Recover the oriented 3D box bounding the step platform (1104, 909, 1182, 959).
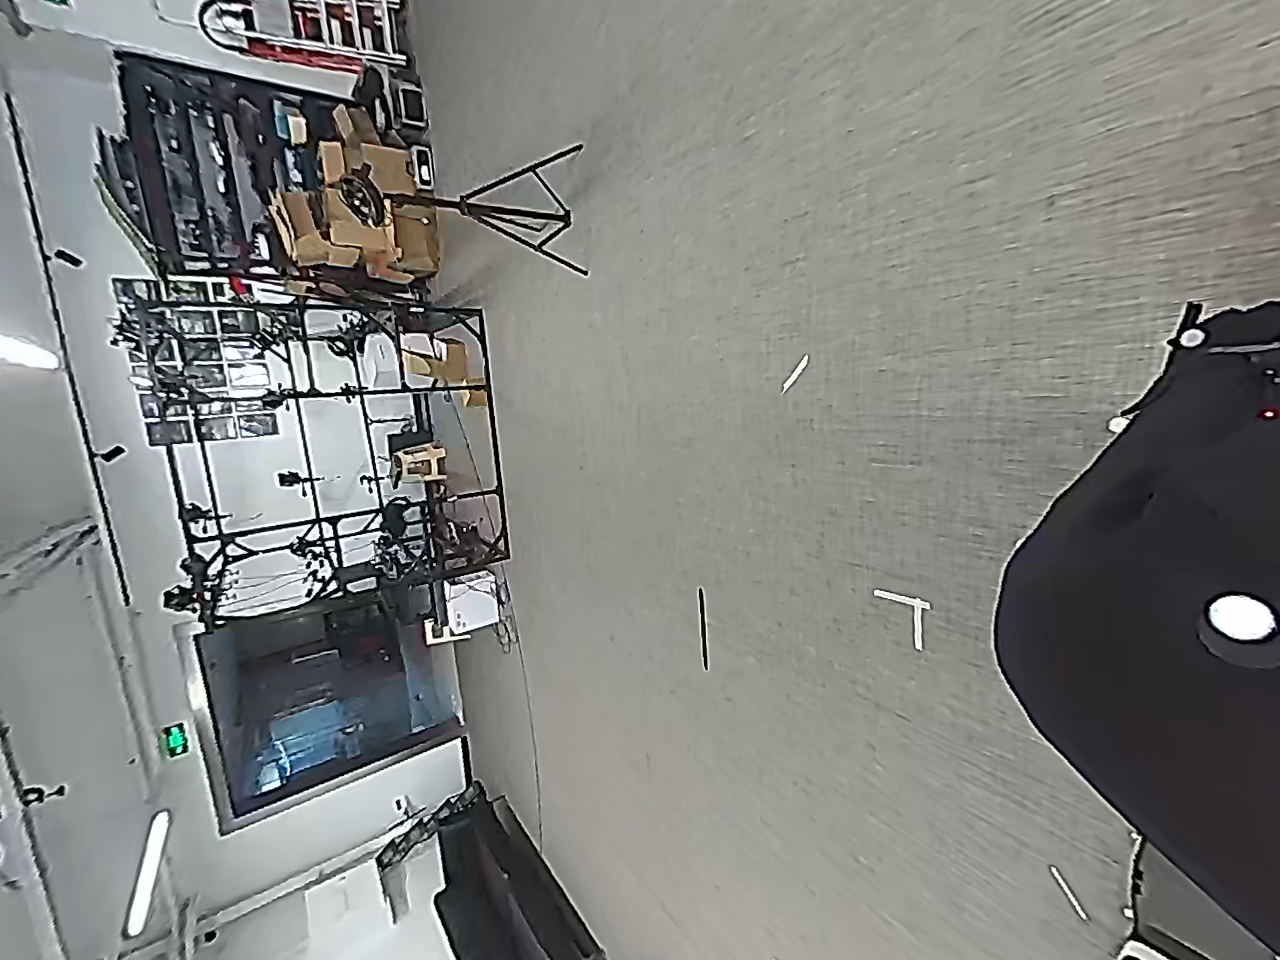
[{"bbox_3d":[1.270,1.174,0.974,0.684,0.204,0.286,10,107,57],"label":"step platform"}]
